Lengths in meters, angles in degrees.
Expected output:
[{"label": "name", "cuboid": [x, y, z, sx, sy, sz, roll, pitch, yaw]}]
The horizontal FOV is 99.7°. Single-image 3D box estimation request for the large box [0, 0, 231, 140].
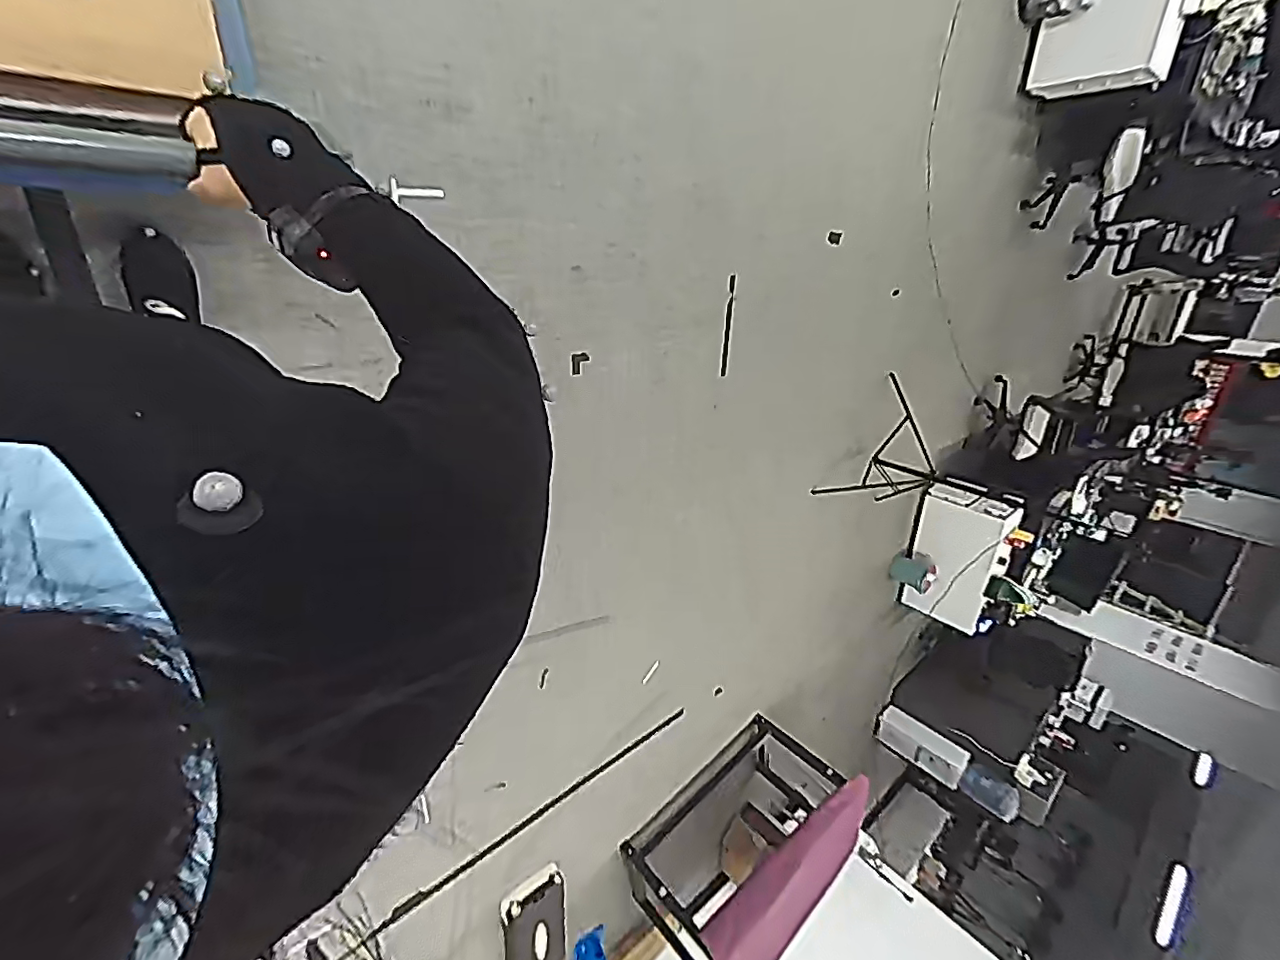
[{"label": "large box", "cuboid": [-0.785, -0.622, 0.636, 0.408, 0.320, 0.320, -18, 120, -38]}]
